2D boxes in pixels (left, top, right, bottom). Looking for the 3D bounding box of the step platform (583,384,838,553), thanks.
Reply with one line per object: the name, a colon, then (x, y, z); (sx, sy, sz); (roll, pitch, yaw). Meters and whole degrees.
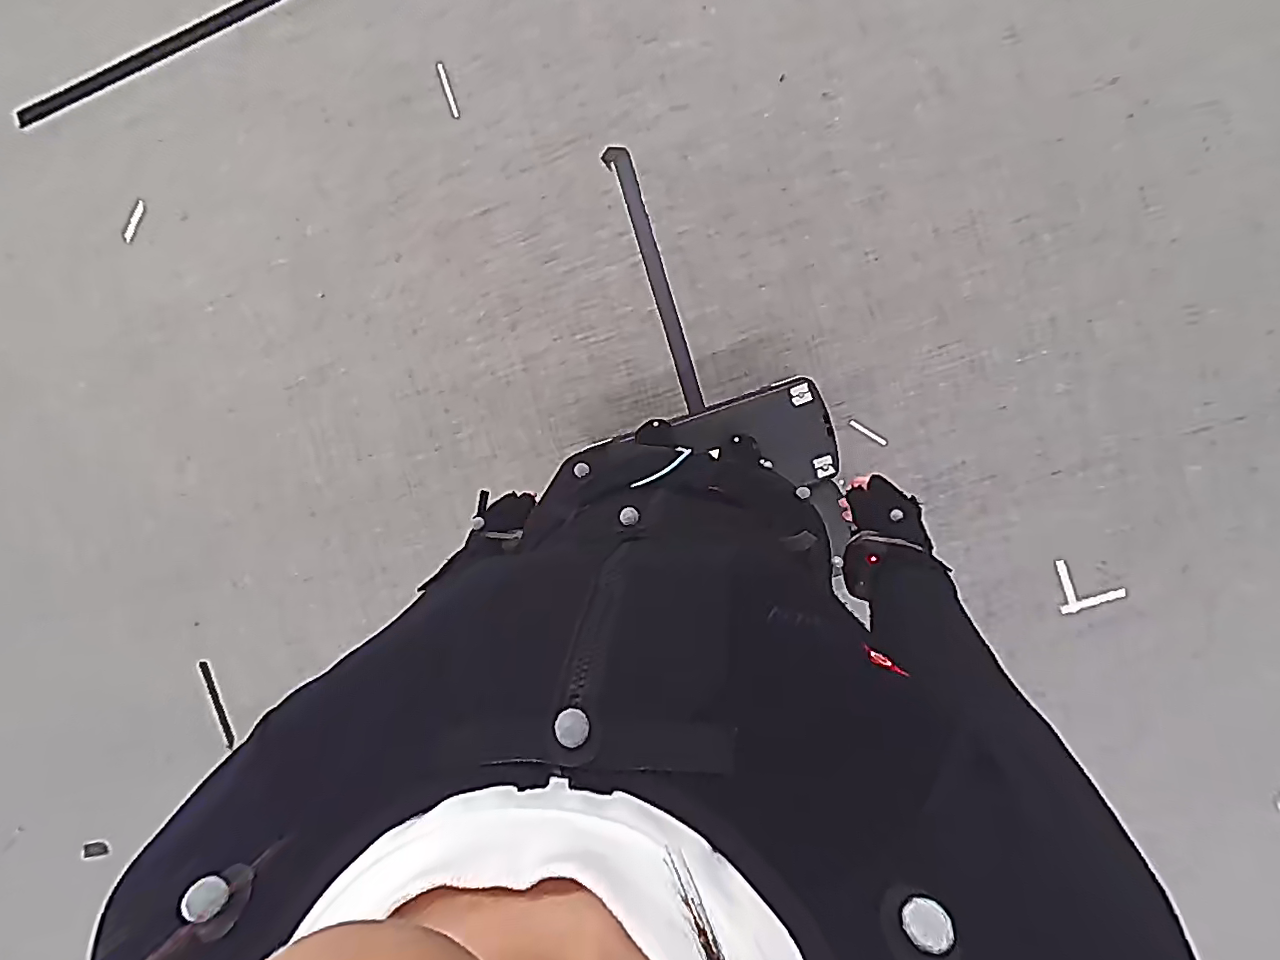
step platform: (0.187, -0.030, 1.512); (0.684, 0.204, 0.286); (-19, 95, 7)
